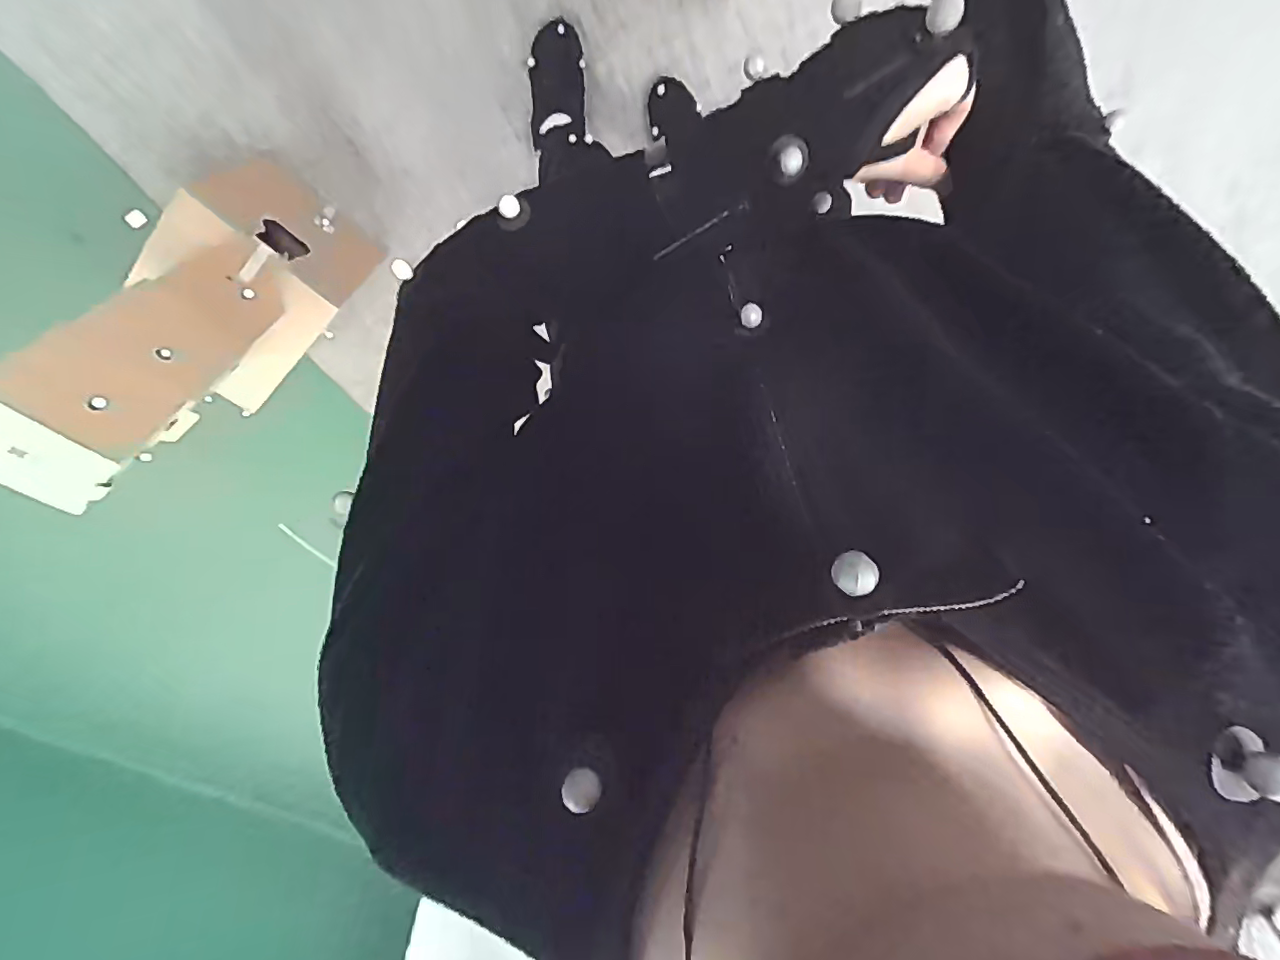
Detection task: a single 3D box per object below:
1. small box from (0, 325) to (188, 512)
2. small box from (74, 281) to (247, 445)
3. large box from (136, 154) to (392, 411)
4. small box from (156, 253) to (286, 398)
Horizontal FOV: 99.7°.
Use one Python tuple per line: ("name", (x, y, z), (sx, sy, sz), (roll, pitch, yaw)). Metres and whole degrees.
("small box", (-0.830, -0.091, 0.796), (0.168, 0.176, 0.179), (-30, 127, 23))
("small box", (-0.827, -0.200, 0.919), (0.168, 0.176, 0.179), (-29, 126, 22))
("large box", (-0.856, -0.446, 1.246), (0.408, 0.320, 0.320), (-33, 123, 26))
("small box", (-0.834, -0.300, 1.049), (0.179, 0.176, 0.168), (-31, 126, 23))
